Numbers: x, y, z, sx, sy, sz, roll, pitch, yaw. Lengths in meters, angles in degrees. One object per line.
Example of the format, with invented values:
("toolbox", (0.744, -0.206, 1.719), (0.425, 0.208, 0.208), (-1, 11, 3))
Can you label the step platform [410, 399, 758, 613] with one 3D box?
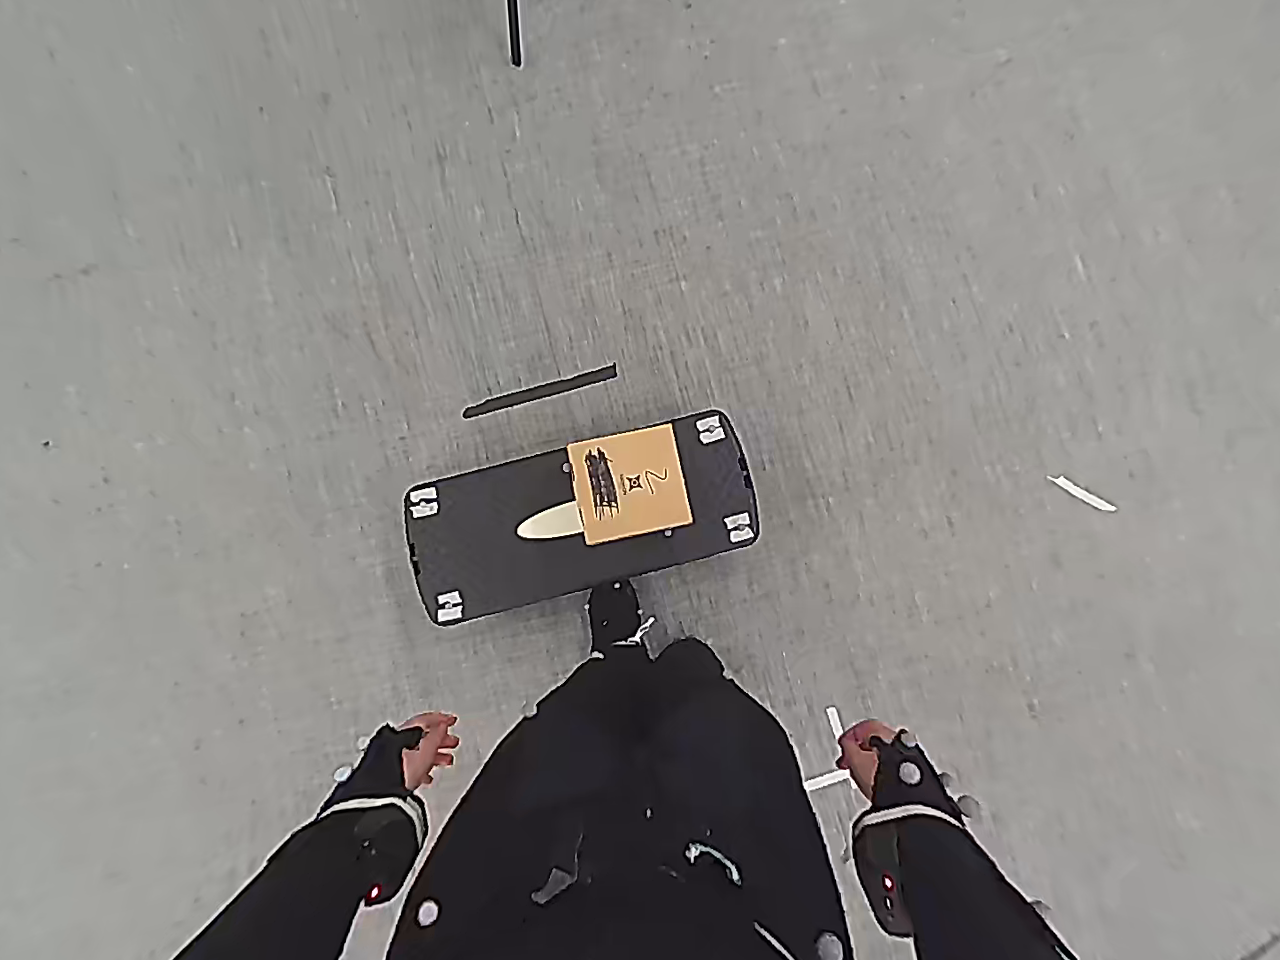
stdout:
("step platform", (-0.107, 0.053, 1.120), (0.684, 0.204, 0.286), (-15, 84, -2))
